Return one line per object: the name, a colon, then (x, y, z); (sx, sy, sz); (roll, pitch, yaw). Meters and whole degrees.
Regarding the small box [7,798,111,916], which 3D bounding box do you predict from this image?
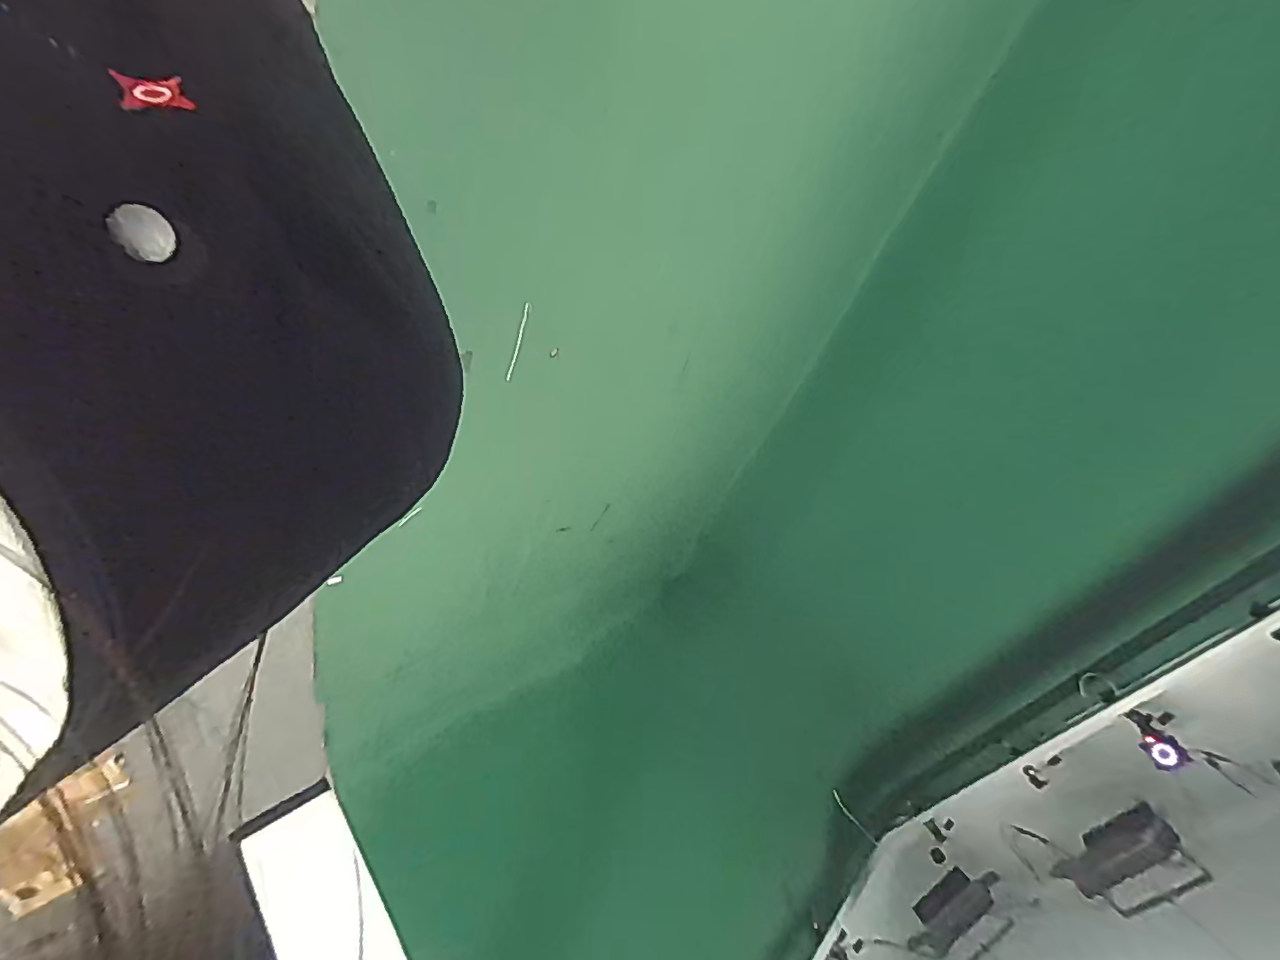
small box: (-1.615, 1.040, 1.503); (0.179, 0.176, 0.168); (-13, 136, -48)
